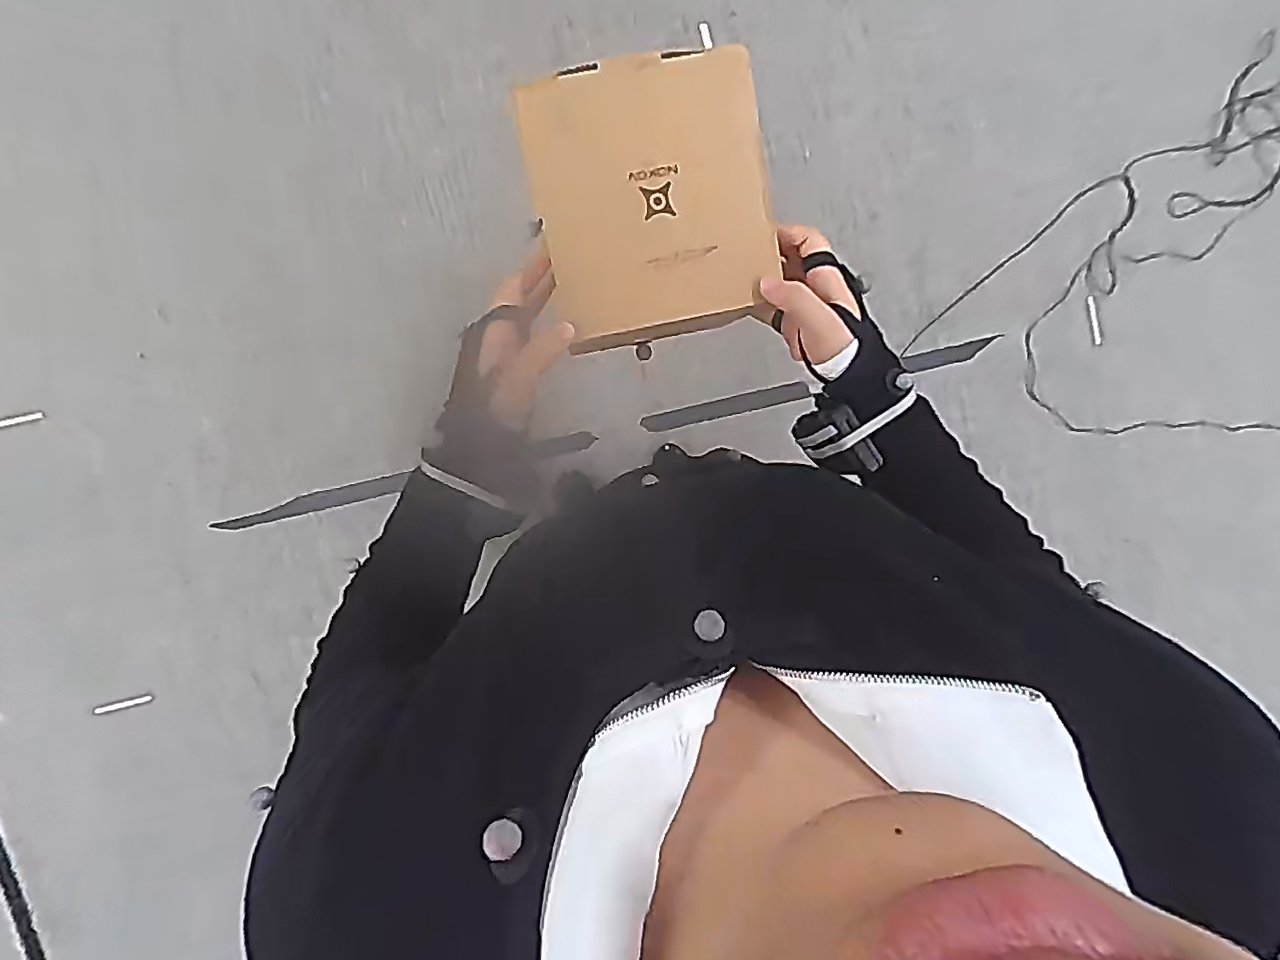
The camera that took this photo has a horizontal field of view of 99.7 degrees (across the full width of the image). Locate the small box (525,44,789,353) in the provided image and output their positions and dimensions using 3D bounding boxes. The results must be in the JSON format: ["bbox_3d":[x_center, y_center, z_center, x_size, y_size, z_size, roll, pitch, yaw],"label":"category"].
[{"bbox_3d":[0.006,-0.214,0.458,0.168,0.176,0.179,-13,101,-5],"label":"small box"}]
